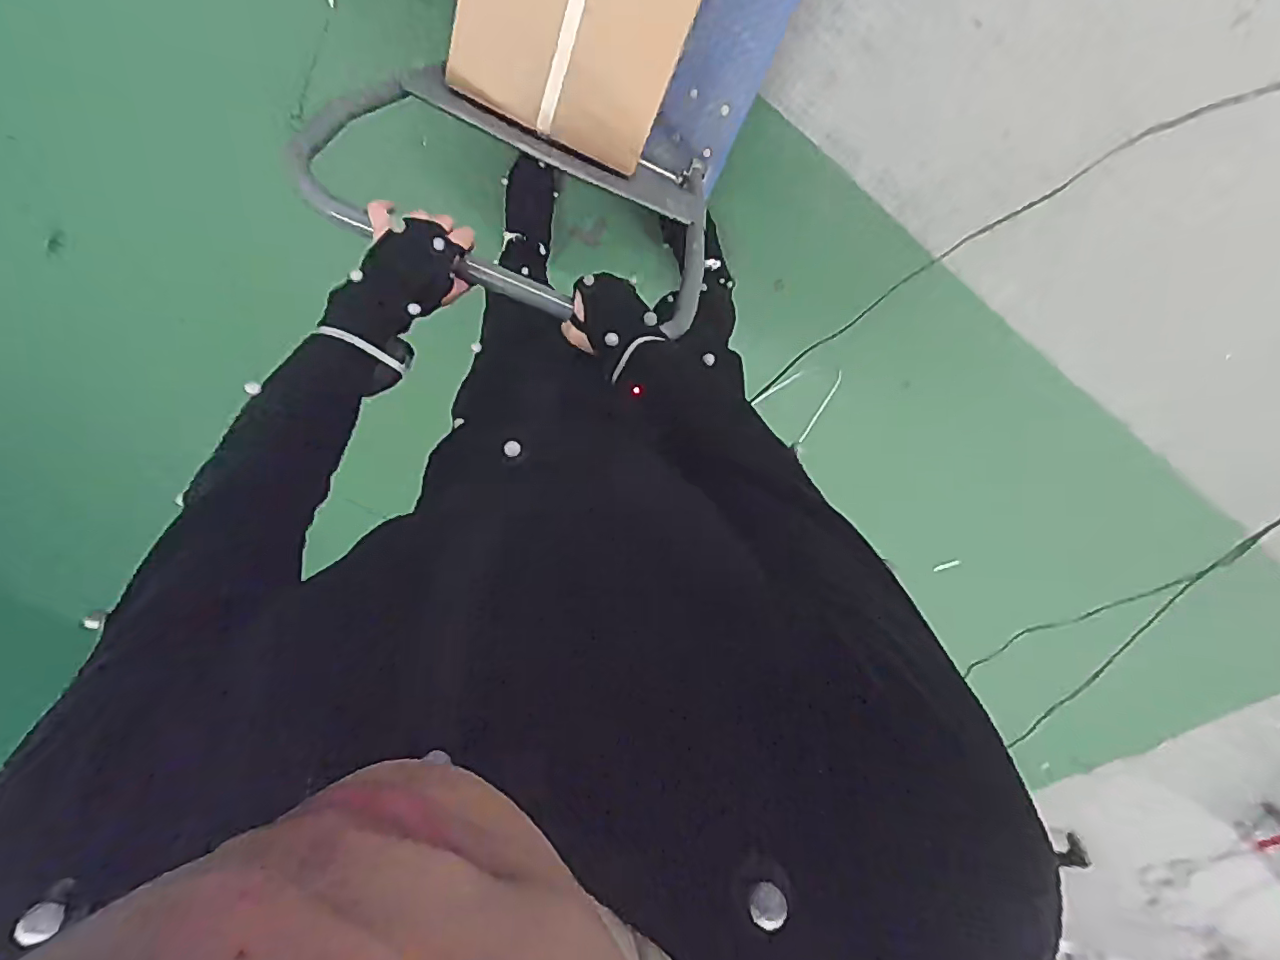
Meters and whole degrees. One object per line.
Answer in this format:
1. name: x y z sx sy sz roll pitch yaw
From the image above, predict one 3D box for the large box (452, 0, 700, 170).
1. large box: -0.066 -0.786 0.858 0.320 0.320 0.408 20 127 -13
